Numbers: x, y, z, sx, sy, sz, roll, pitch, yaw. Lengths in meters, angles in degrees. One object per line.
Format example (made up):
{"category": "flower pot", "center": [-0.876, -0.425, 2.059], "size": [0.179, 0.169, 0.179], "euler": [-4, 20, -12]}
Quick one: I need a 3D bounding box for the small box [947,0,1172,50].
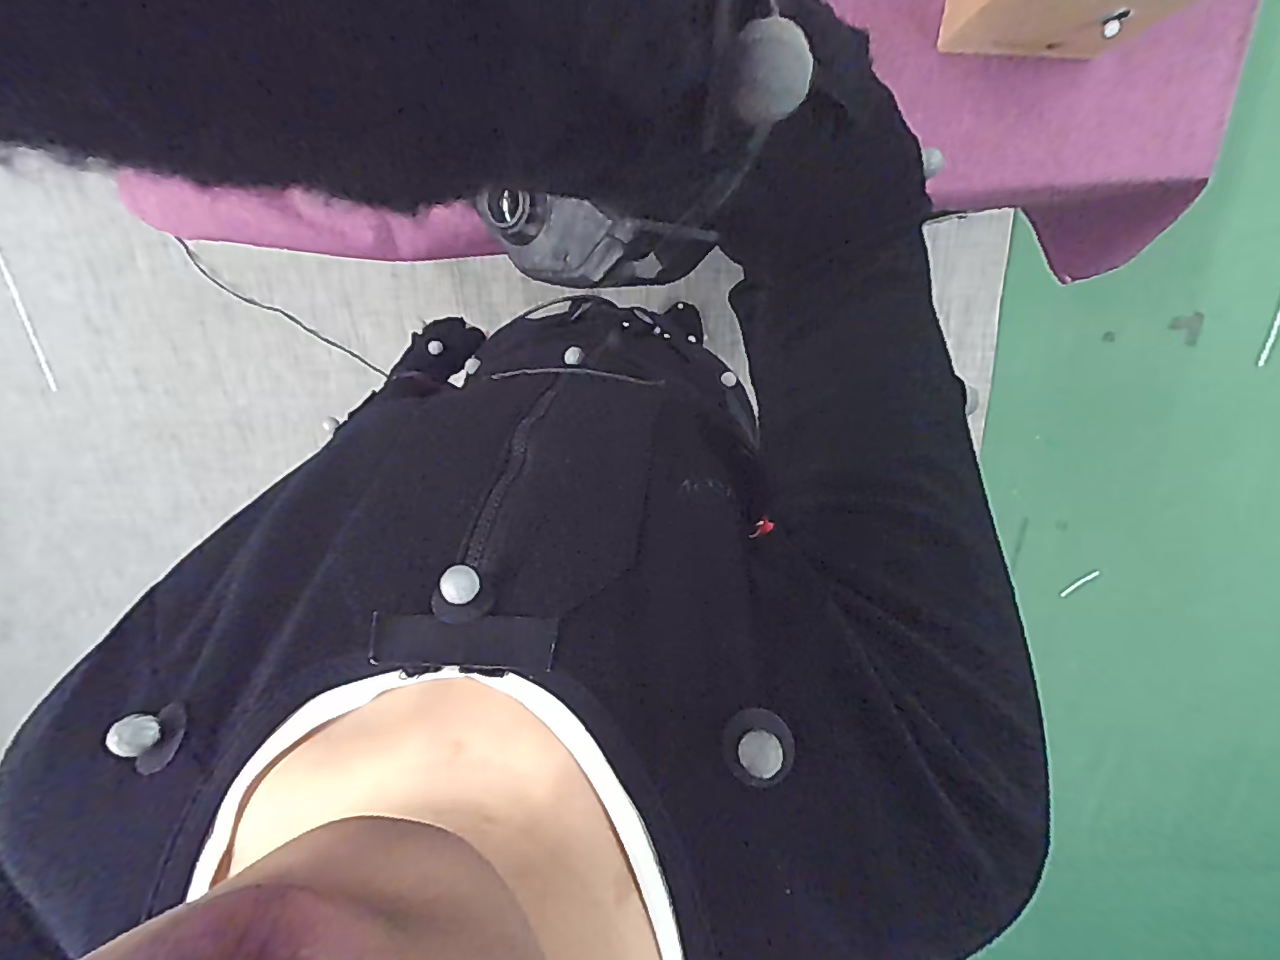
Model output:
{"category": "small box", "center": [0.393, -0.501, 0.457], "size": [0.168, 0.176, 0.179], "euler": [4, 109, 1]}
